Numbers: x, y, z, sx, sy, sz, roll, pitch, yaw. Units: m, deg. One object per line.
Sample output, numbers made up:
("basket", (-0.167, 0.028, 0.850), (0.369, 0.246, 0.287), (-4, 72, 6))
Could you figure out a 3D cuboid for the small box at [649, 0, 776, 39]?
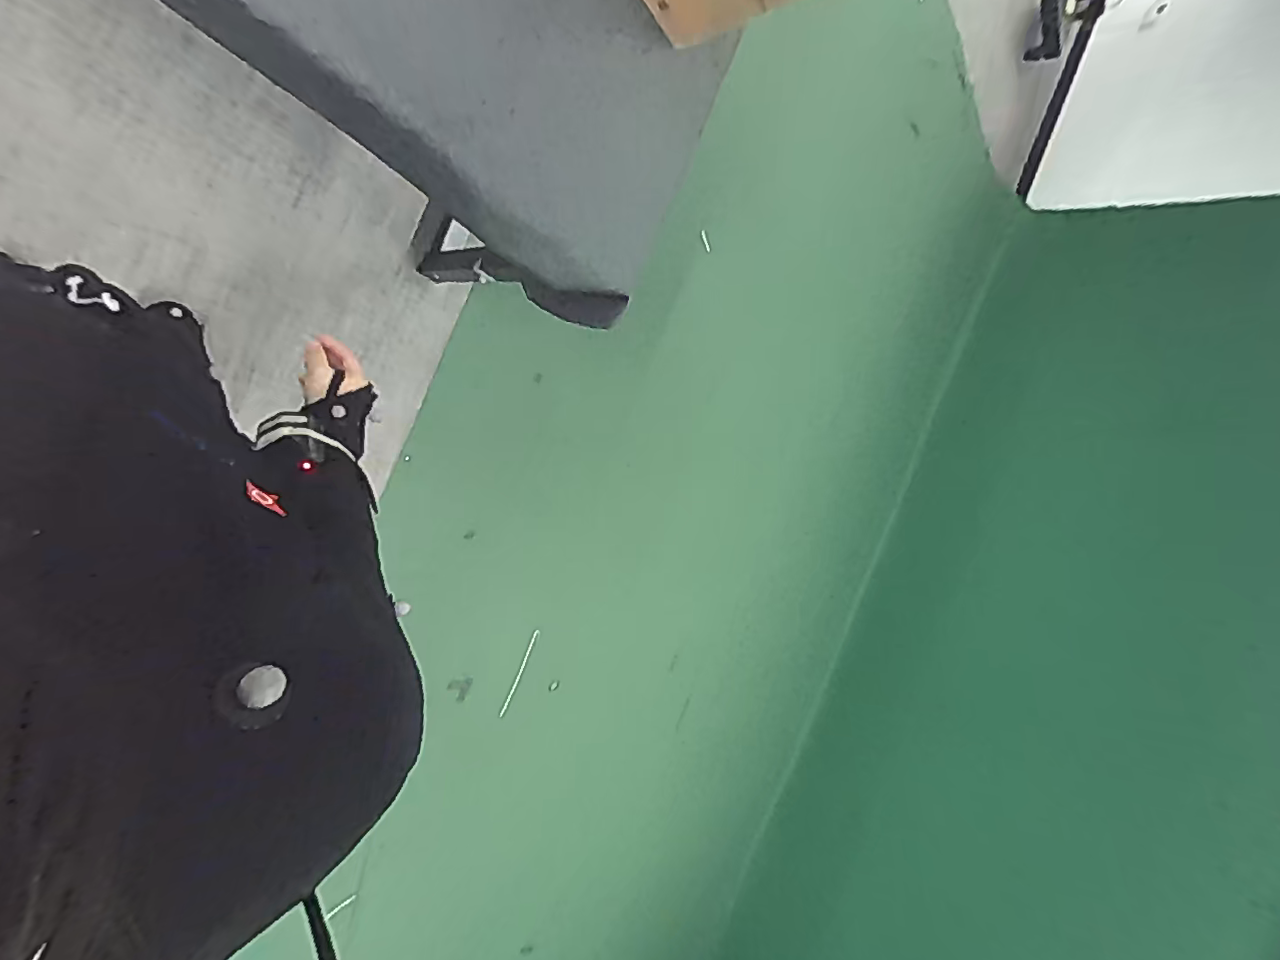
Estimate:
("small box", (0.092, -0.695, 0.652), (0.168, 0.176, 0.179), (28, 88, -46))
